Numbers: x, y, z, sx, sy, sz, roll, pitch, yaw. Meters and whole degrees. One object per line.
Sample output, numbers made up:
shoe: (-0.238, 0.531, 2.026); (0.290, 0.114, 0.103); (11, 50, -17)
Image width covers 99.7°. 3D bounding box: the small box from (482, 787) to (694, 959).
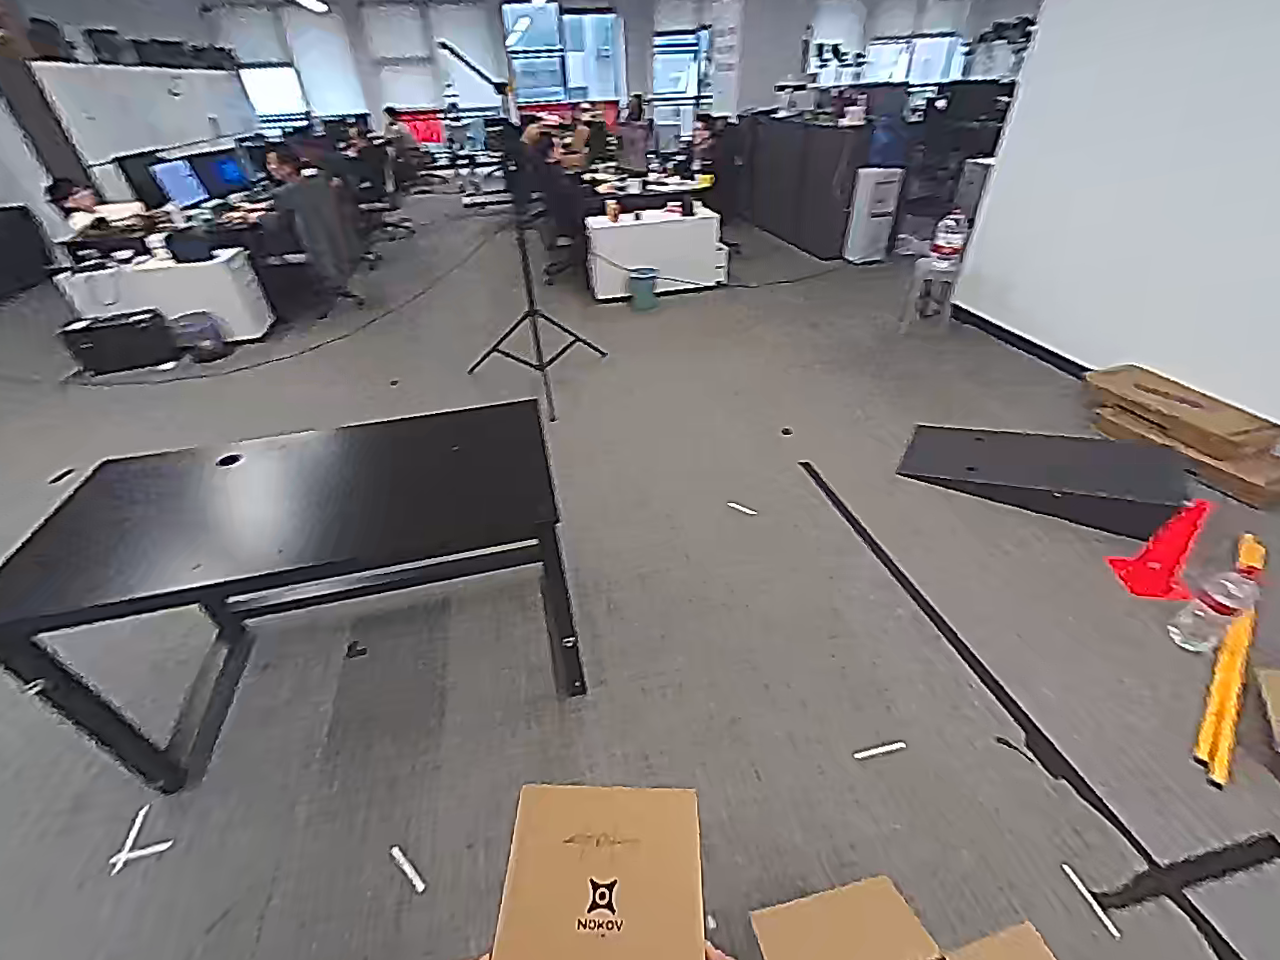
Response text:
small box: (-0.039, 0.403, 0.489); (0.168, 0.176, 0.179); (1, 40, -1)
